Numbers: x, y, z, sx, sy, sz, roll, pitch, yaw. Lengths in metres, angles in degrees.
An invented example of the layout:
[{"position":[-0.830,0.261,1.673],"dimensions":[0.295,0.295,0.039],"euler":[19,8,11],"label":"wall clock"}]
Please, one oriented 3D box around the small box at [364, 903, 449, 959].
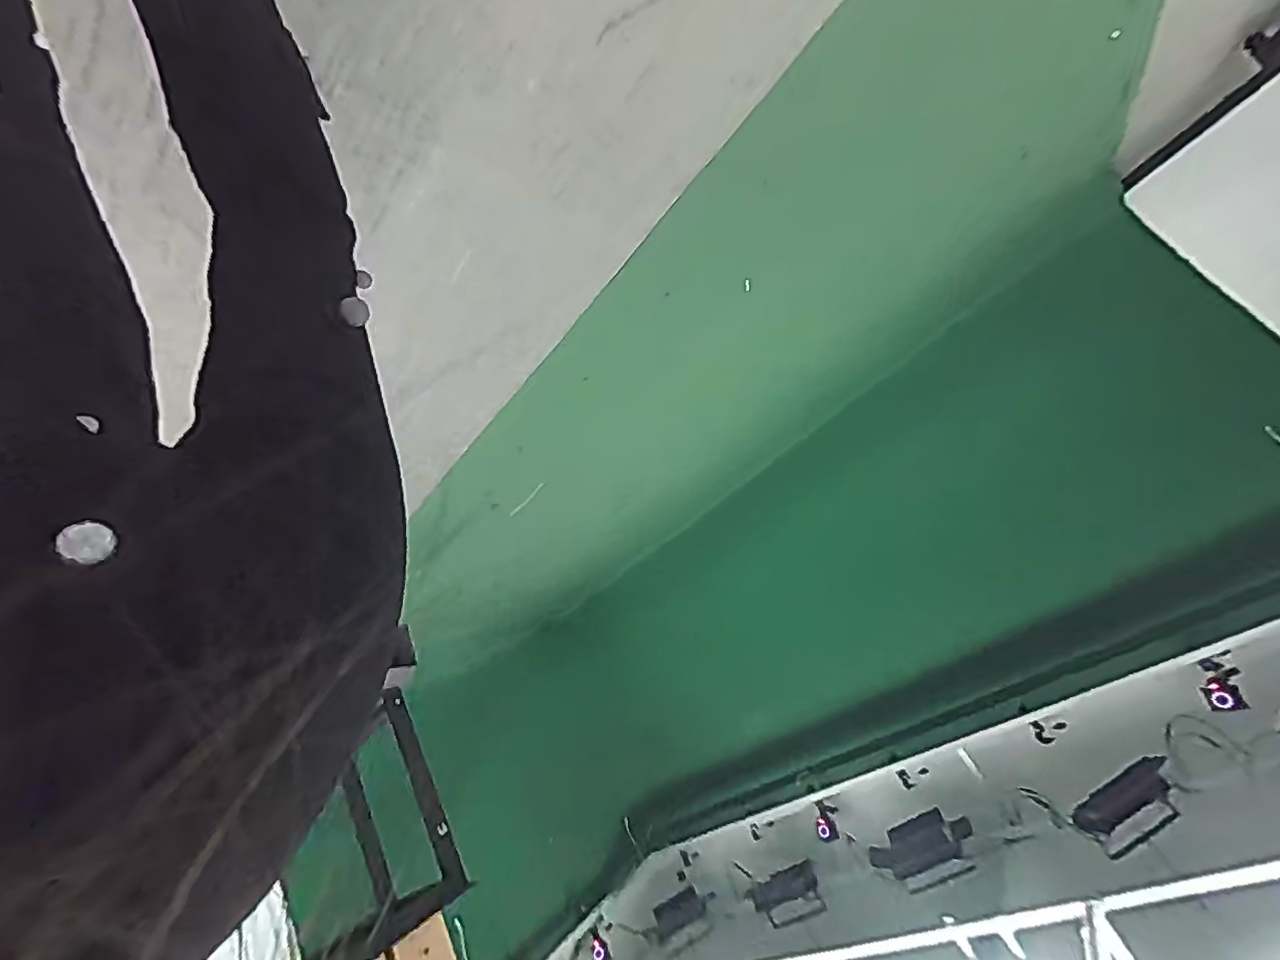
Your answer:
[{"position":[-0.743,1.485,1.710],"dimensions":[0.179,0.176,0.168],"euler":[-41,157,29],"label":"small box"}]
